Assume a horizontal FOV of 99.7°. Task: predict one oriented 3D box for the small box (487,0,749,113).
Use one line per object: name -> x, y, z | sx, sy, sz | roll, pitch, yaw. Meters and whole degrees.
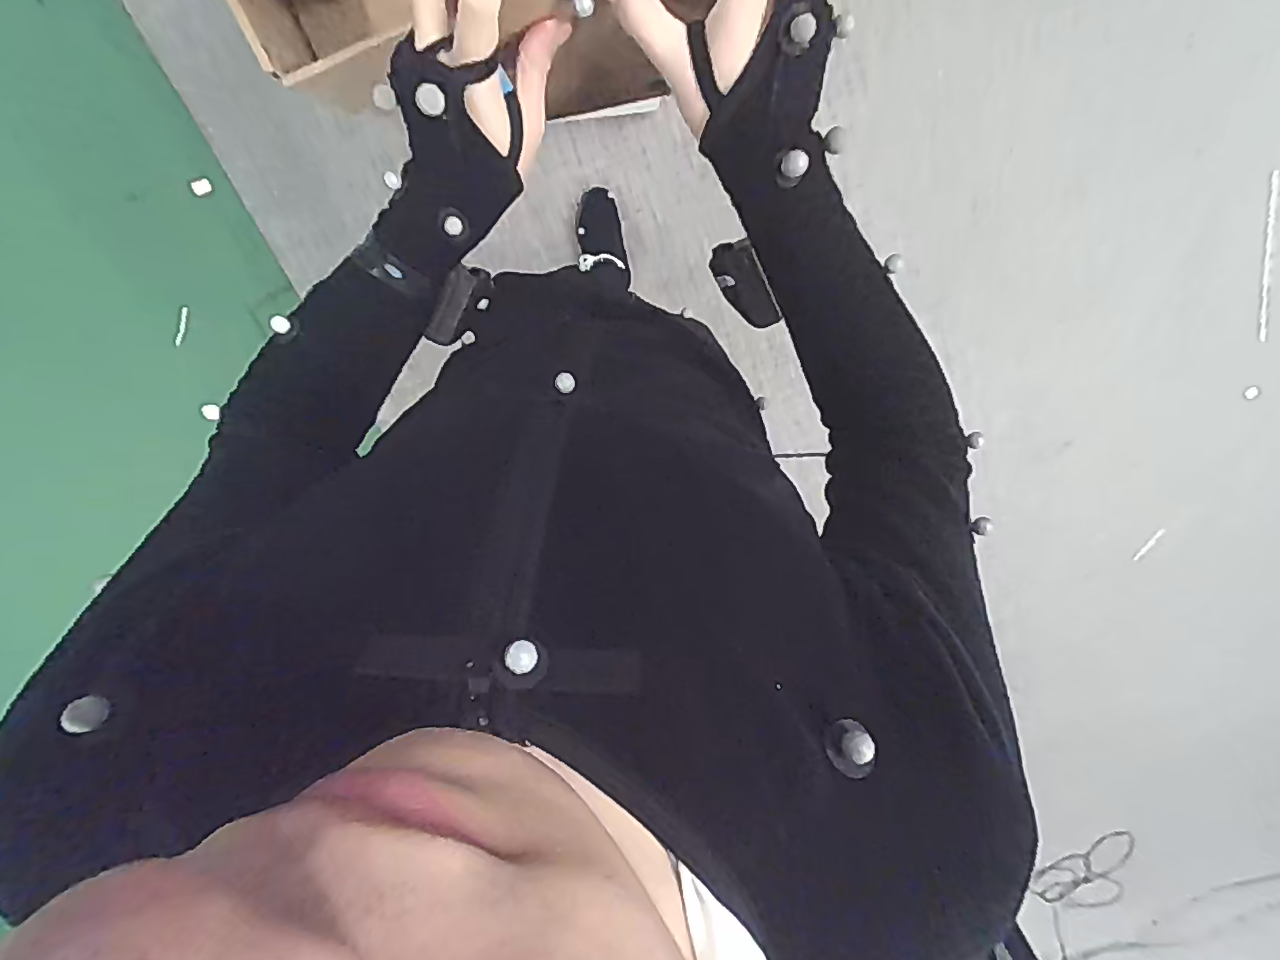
small box -> -0.023, -0.374, 0.337 | 0.168, 0.176, 0.179 | -9, 101, 6
